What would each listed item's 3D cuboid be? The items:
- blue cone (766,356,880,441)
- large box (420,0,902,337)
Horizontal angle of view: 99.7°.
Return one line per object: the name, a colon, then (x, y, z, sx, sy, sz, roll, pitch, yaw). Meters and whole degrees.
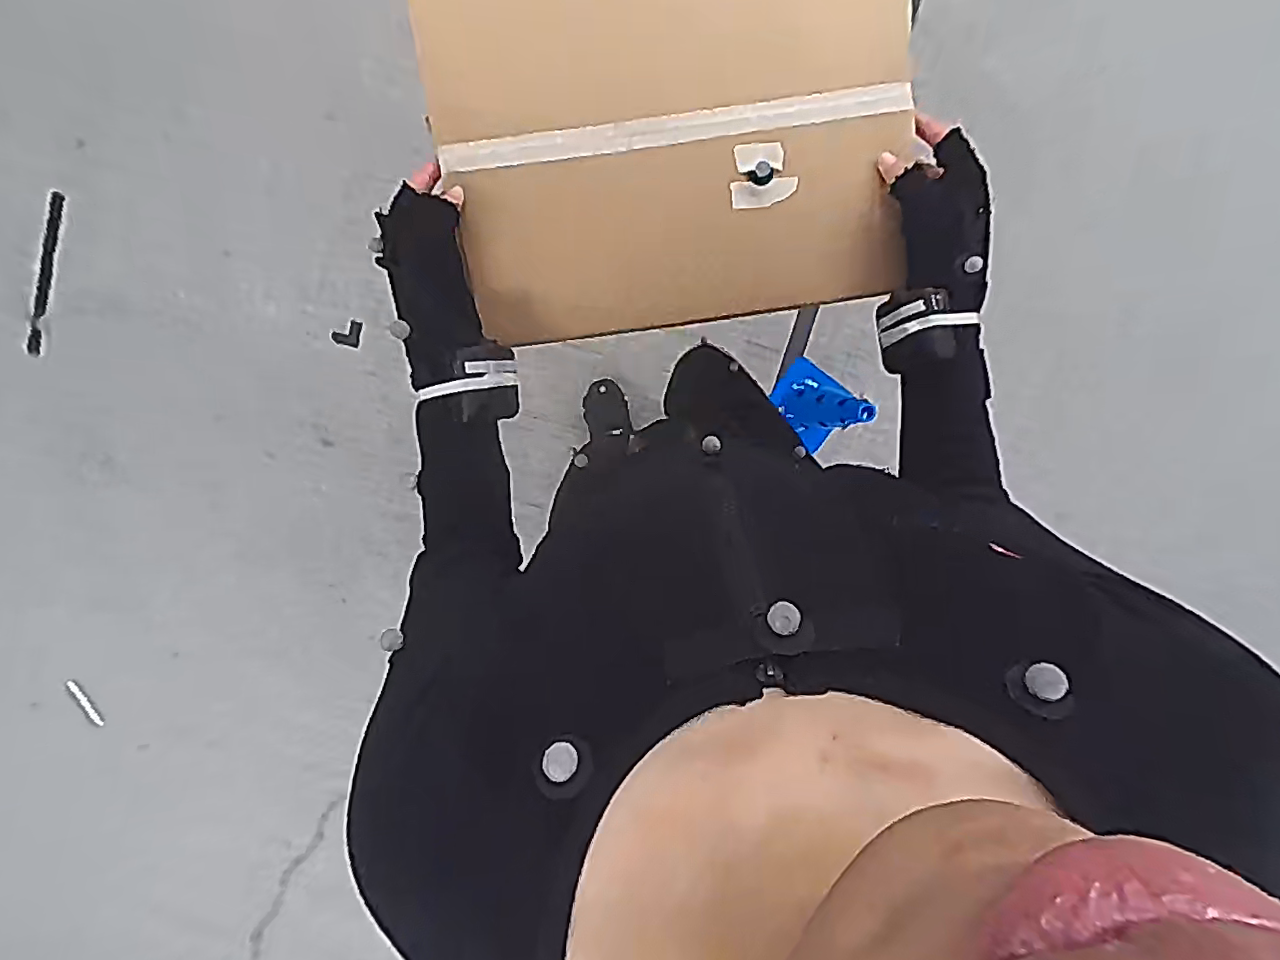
blue cone: (0.466, -0.194, 1.305, 0.193, 0.380, 0.192, 36, 95, -8)
large box: (0.022, -0.347, 0.613, 0.408, 0.320, 0.320, -8, 105, -2)
